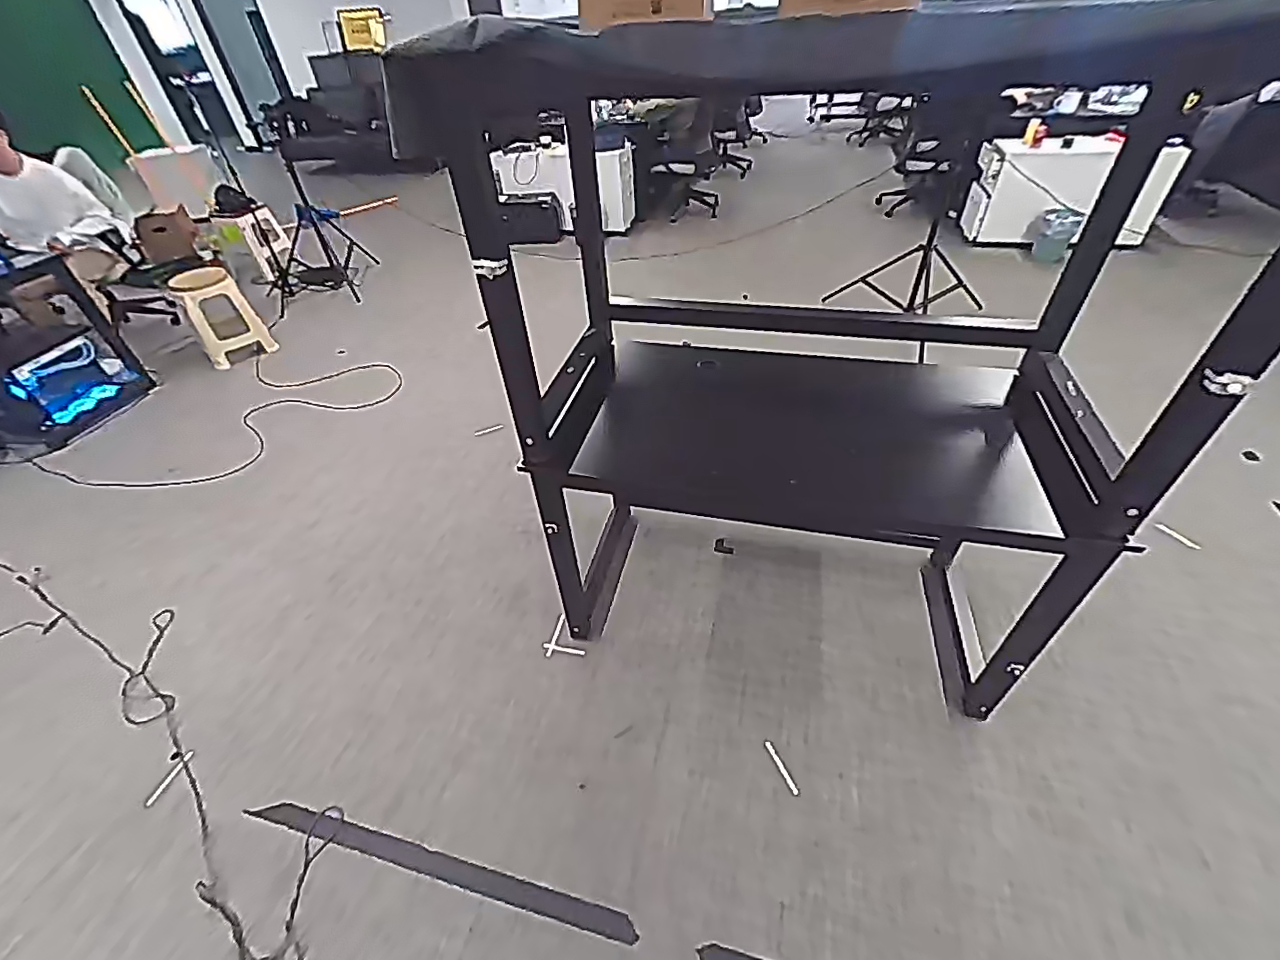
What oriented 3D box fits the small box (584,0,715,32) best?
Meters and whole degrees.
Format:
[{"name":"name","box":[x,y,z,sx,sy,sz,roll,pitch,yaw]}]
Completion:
[{"name":"small box","box":[0.016,-0.702,0.709,0.168,0.176,0.179,5,42,9]}]
